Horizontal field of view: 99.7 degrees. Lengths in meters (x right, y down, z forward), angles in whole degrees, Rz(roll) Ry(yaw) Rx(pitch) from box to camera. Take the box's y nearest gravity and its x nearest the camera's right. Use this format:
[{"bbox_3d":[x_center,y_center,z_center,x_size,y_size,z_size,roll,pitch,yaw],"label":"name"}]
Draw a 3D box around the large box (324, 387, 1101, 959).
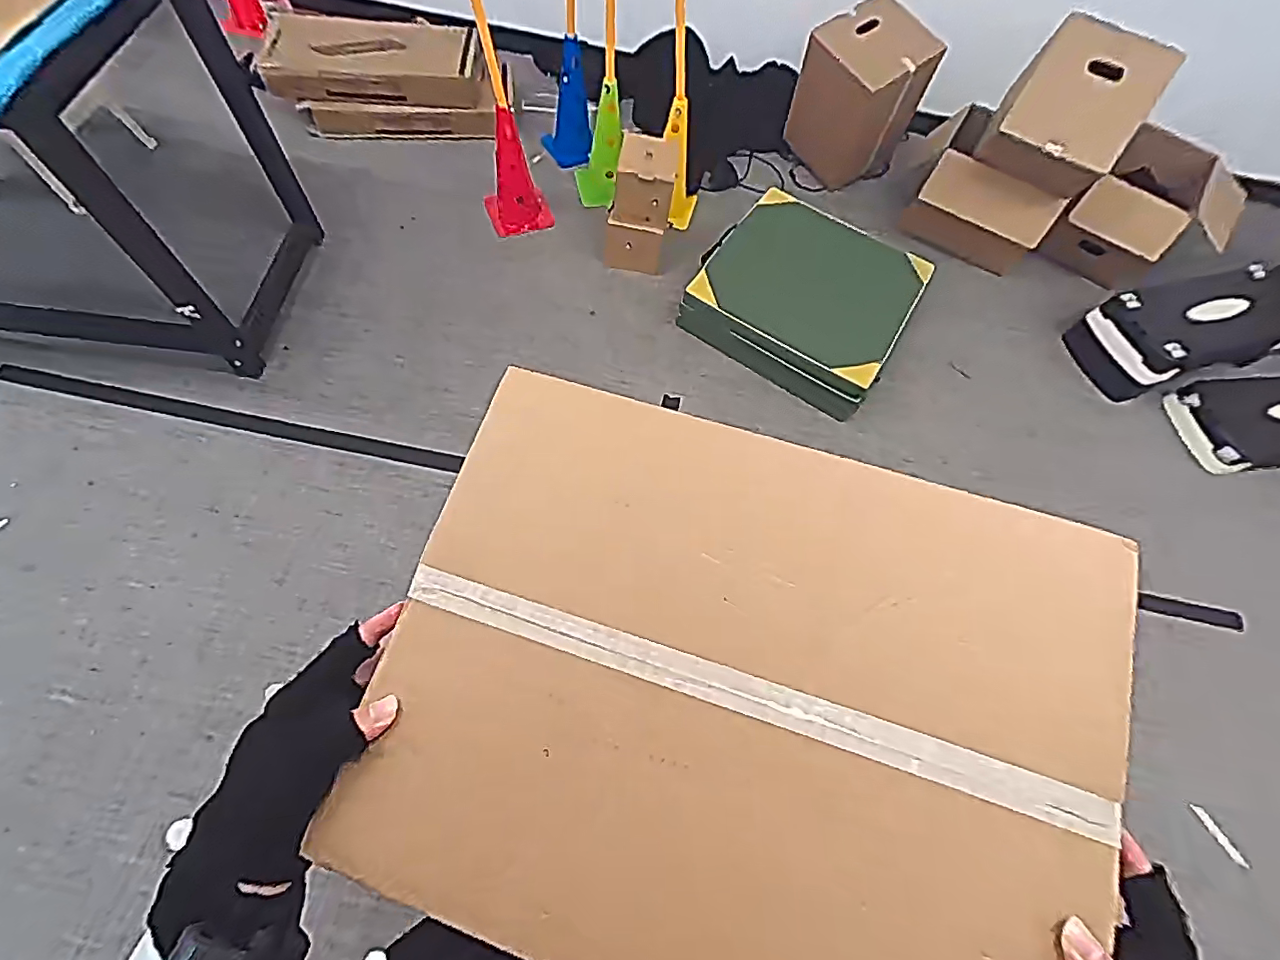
[{"bbox_3d":[0.058,0.167,0.462,0.408,0.320,0.320,17,75,9],"label":"large box"}]
